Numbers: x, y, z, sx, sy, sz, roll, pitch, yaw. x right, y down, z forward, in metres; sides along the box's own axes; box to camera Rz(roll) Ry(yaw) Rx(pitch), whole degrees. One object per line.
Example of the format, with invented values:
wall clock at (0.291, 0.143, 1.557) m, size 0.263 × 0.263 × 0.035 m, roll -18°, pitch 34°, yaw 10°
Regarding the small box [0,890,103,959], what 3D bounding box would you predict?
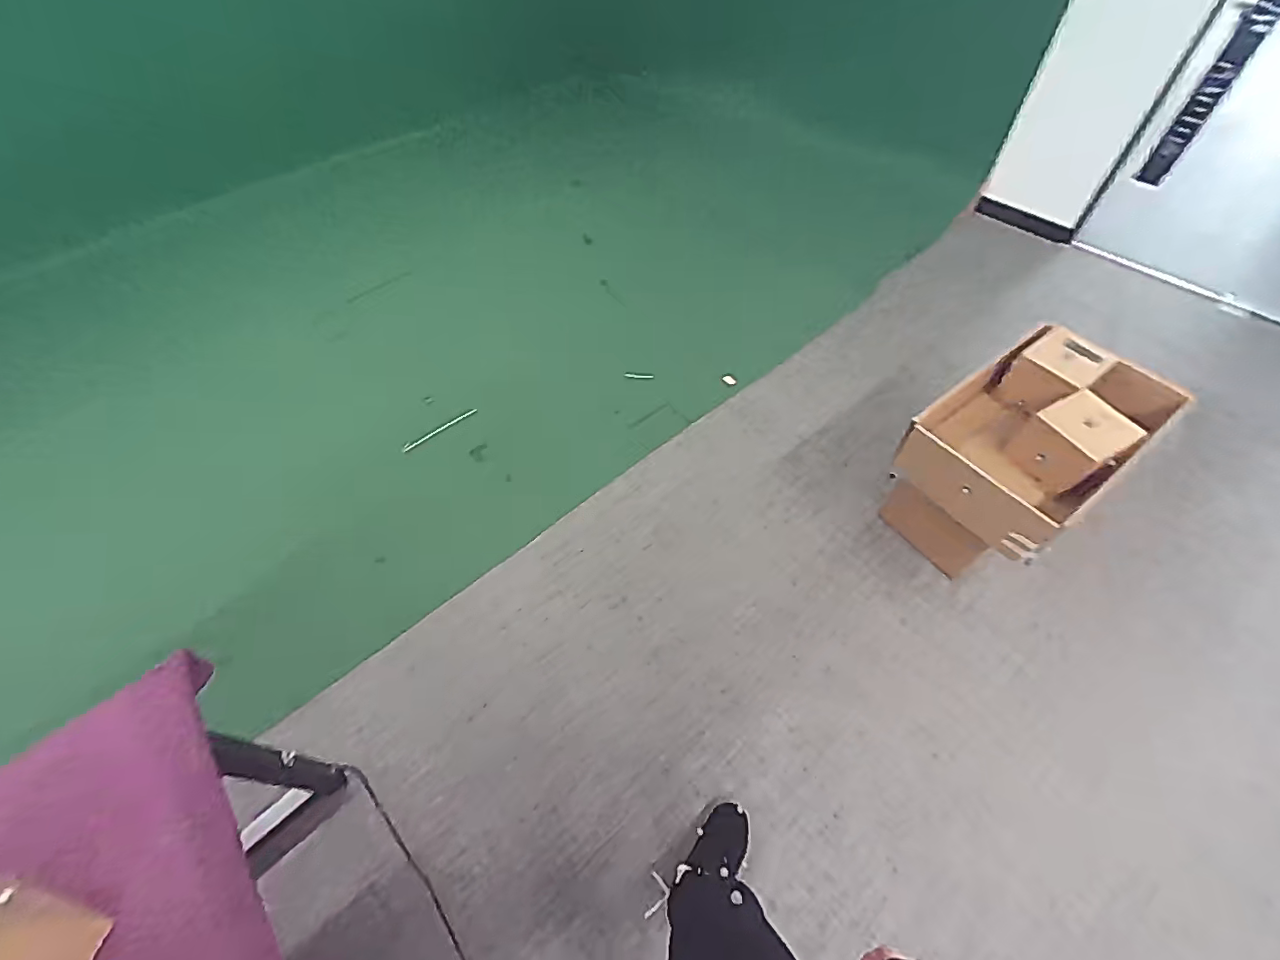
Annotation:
small box at (-0.777, 0.569, 0.588) m, size 0.179 × 0.176 × 0.168 m, roll 11°, pitch 57°, yaw 9°
